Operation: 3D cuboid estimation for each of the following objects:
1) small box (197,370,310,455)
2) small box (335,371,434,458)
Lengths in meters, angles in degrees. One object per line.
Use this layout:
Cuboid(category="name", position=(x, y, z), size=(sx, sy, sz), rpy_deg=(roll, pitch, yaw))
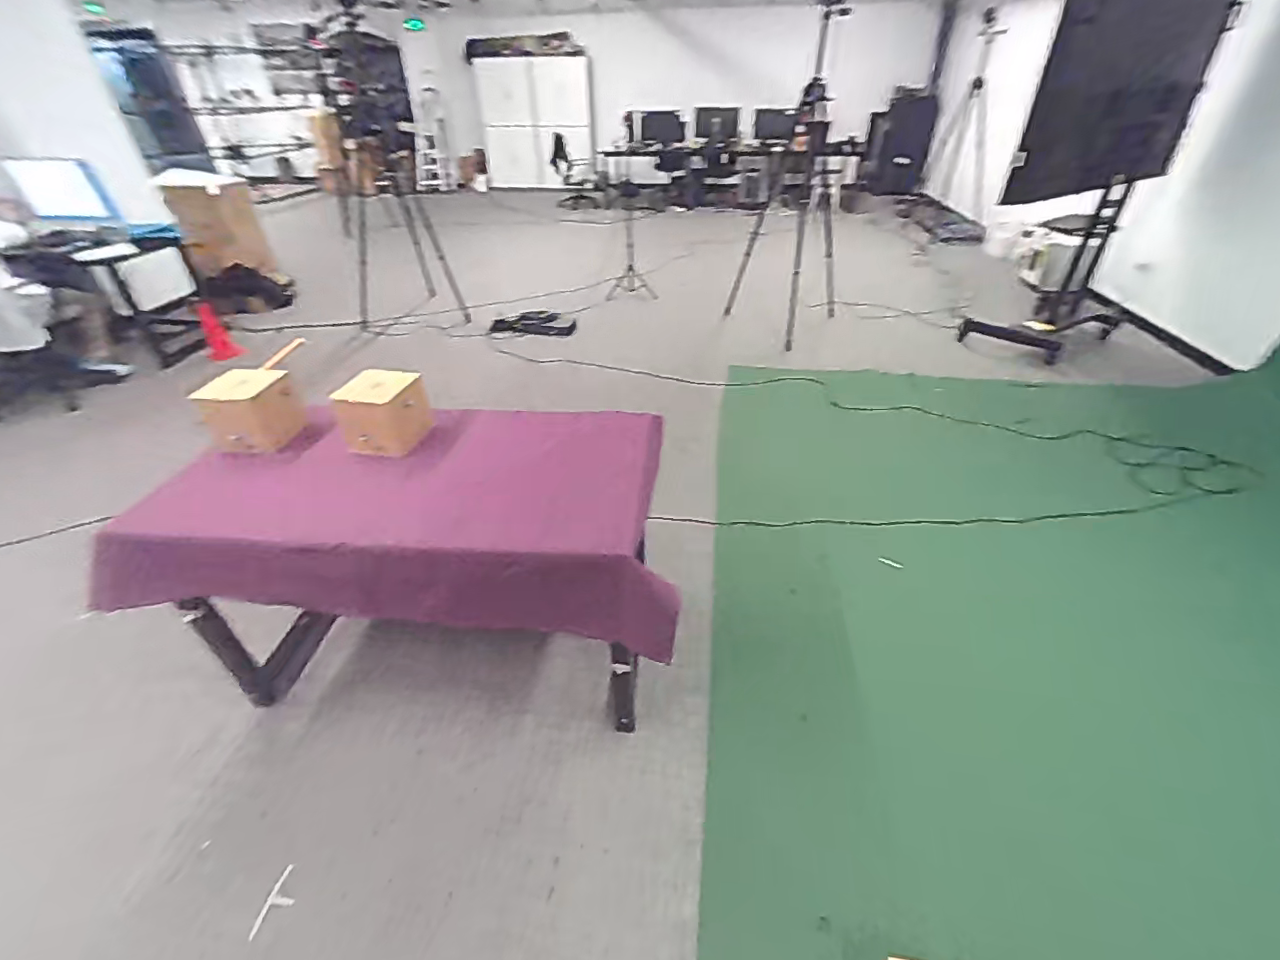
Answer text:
Cuboid(category="small box", position=(-1.057, -0.189, 1.502), size=(0.168, 0.176, 0.179), rpy_deg=(2, 37, 5))
Cuboid(category="small box", position=(-0.690, -0.182, 1.487), size=(0.168, 0.176, 0.179), rpy_deg=(7, 38, 11))
